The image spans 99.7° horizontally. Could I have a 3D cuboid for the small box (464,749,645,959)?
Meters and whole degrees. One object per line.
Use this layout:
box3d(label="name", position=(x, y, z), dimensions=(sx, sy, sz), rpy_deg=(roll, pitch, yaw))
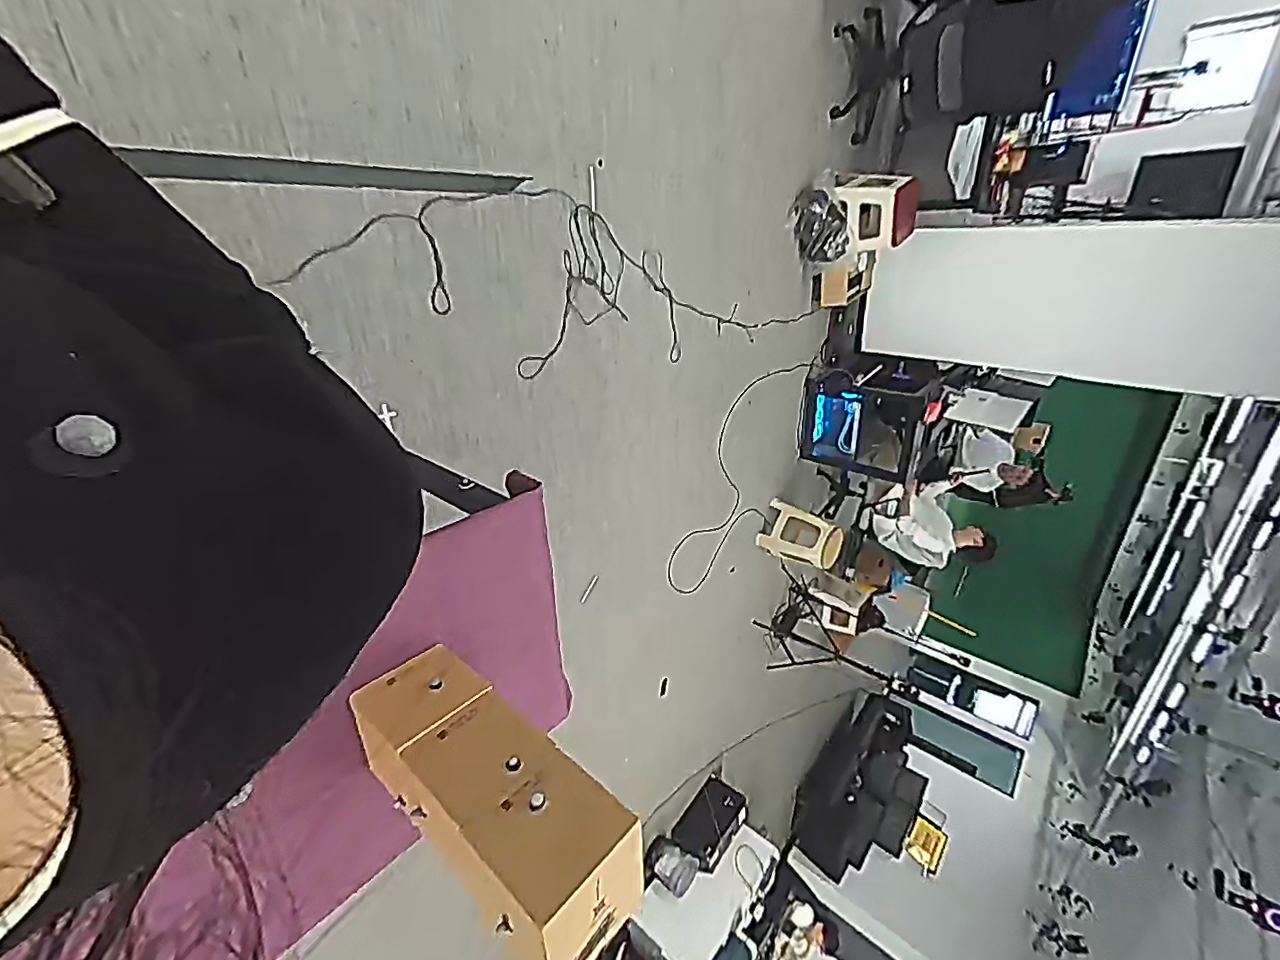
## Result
box3d(label="small box", position=(-0.111, 0.507, 0.721), dimensions=(0.168, 0.176, 0.179), rpy_deg=(-26, 124, -43))

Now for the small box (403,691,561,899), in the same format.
box3d(label="small box", position=(-0.232, 0.464, 0.823), dimensions=(0.168, 0.176, 0.179), rpy_deg=(-27, 126, -43))

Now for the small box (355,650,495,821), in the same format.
box3d(label="small box", position=(-0.357, 0.416, 0.919), dimensions=(0.168, 0.176, 0.179), rpy_deg=(-26, 125, -43))
